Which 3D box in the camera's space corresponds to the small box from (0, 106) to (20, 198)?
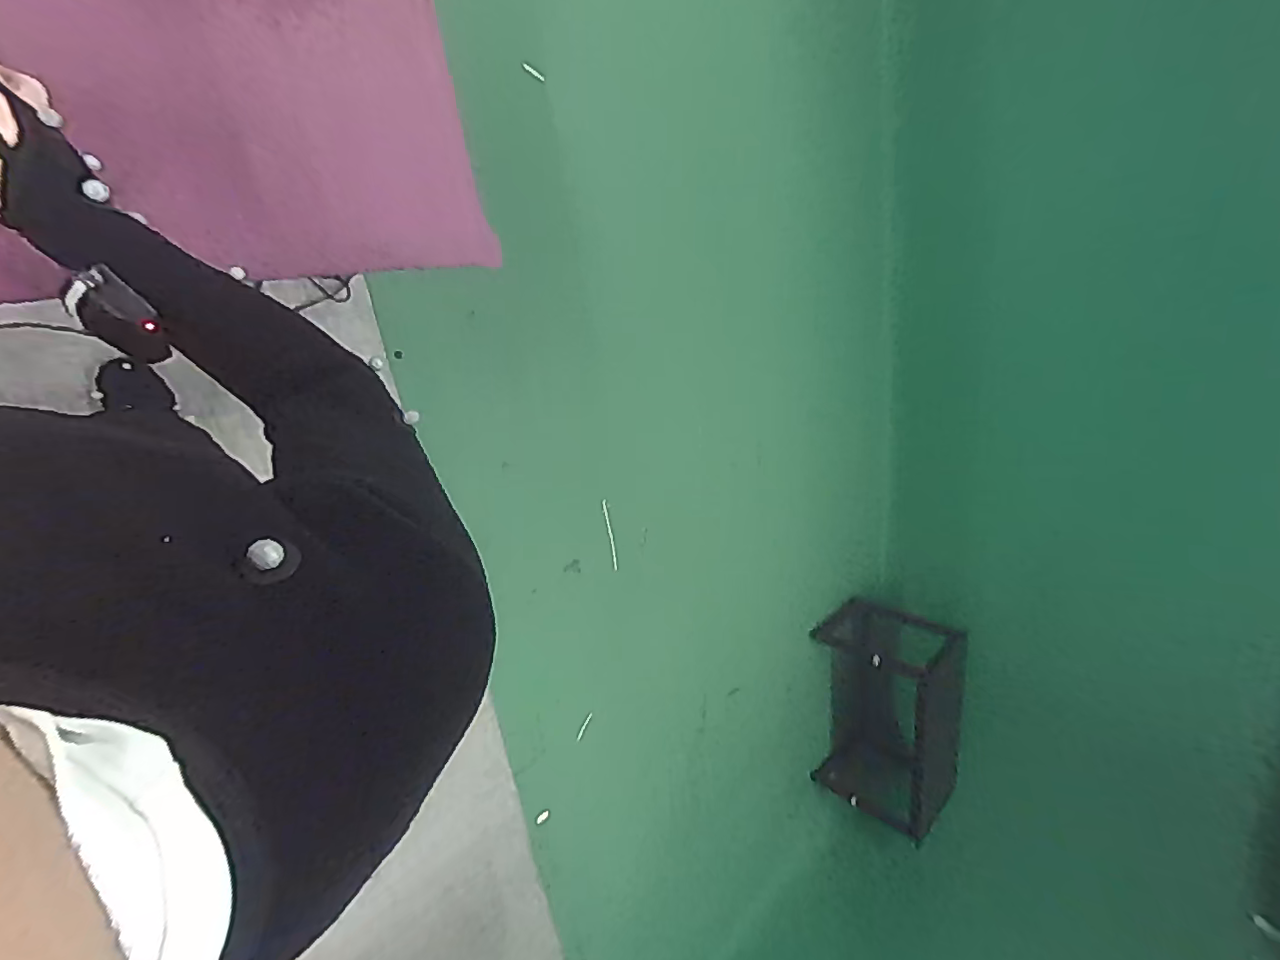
[{"bbox_3d":[-0.628,-0.346,0.407,0.168,0.176,0.179,-16,97,-38],"label":"small box"}]
